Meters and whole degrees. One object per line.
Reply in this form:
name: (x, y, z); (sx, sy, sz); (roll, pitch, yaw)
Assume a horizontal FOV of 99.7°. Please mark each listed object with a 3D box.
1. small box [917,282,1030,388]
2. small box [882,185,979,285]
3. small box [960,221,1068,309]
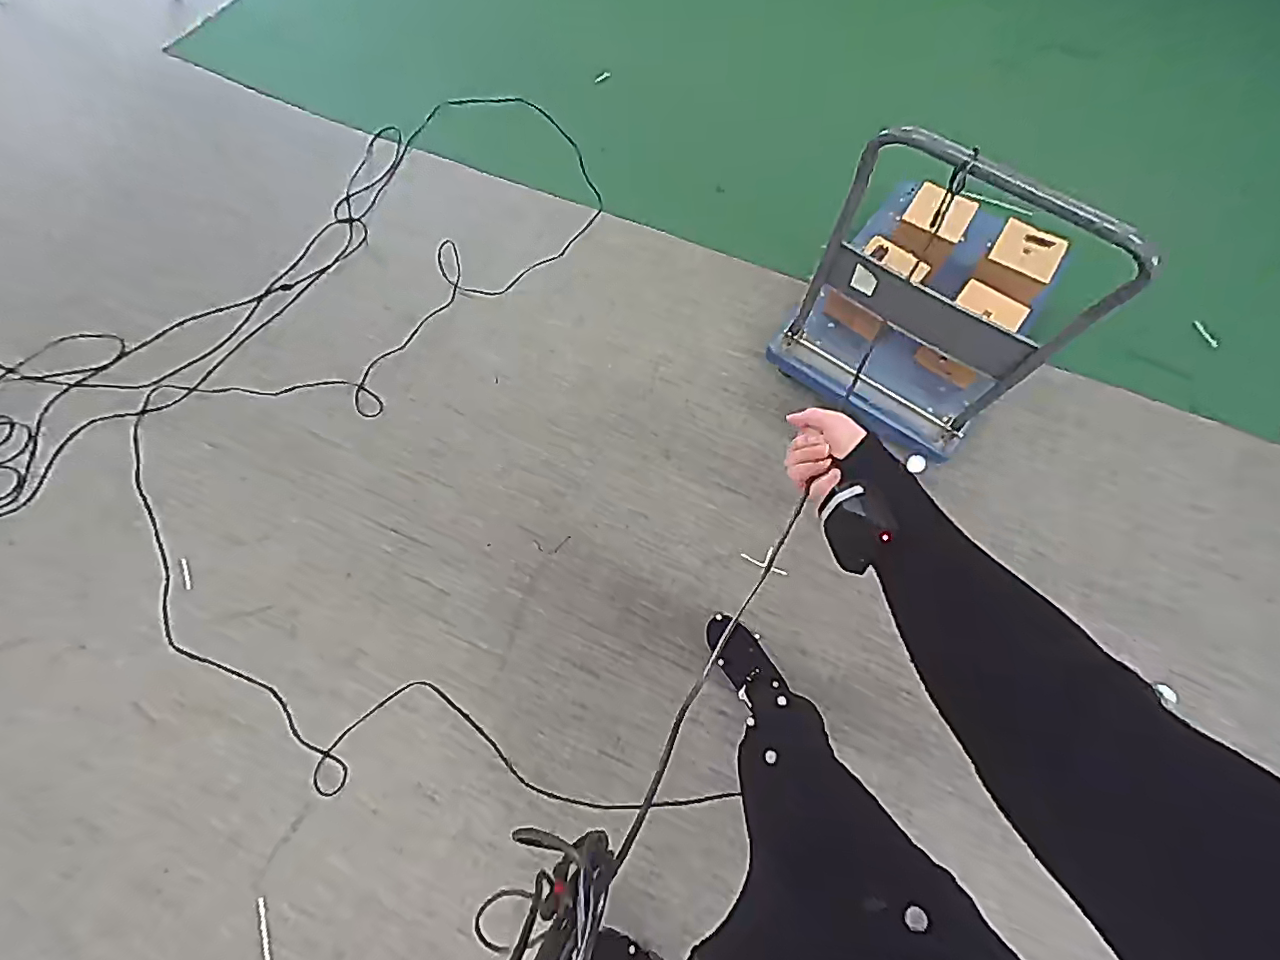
small box: (0.886, -0.385, 1.454); (0.168, 0.176, 0.179); (36, 73, 14)
small box: (0.841, -0.712, 1.587); (0.168, 0.176, 0.179); (32, 71, 12)
small box: (1.051, -0.584, 1.533); (0.168, 0.176, 0.179); (32, 72, 13)
